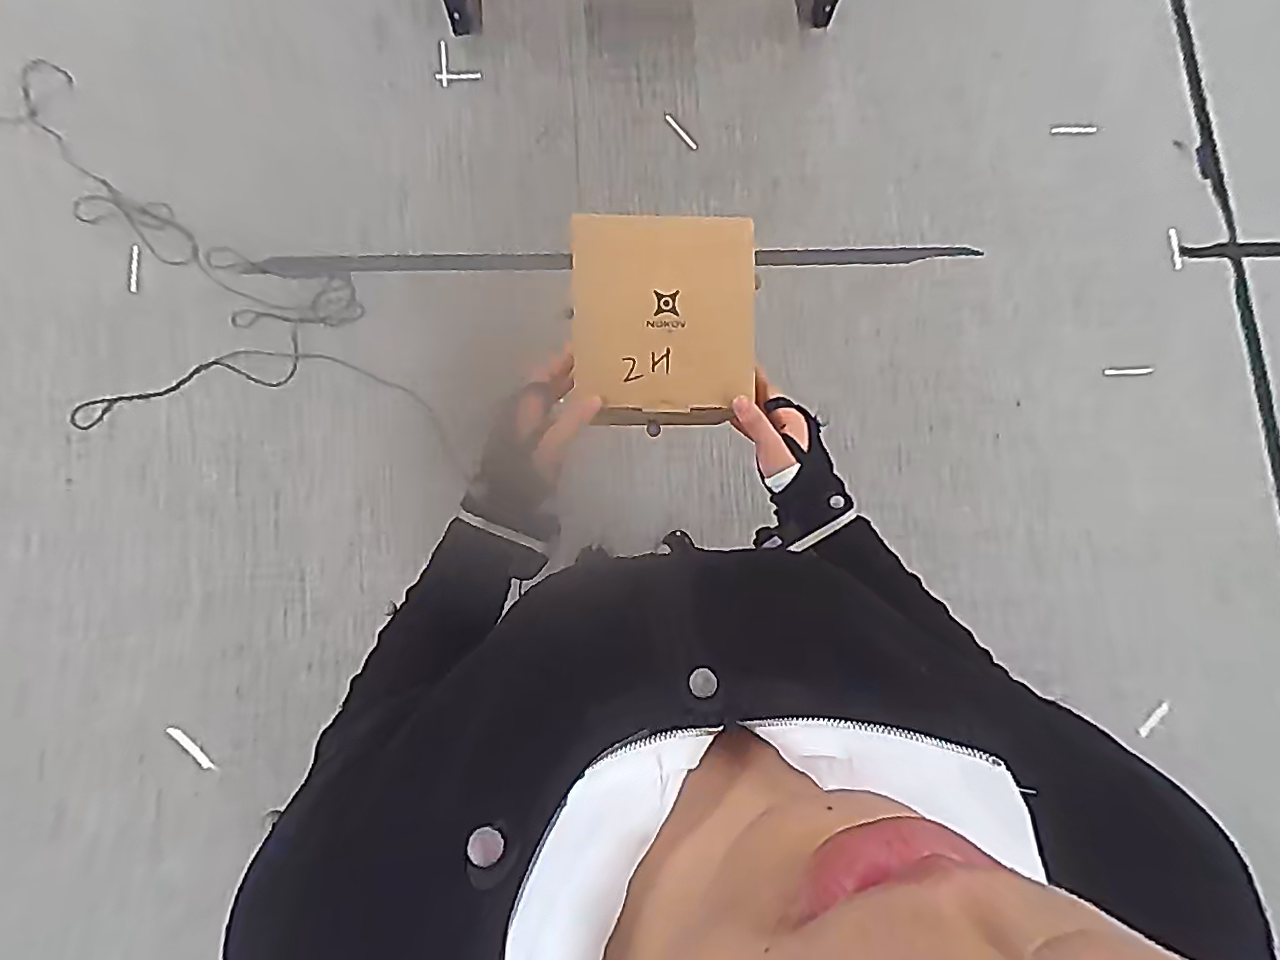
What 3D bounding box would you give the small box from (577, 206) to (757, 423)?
[{"bbox_3d":[0.019,-0.157,0.565,0.168,0.176,0.179,-1,90,-3],"label":"small box"}]
